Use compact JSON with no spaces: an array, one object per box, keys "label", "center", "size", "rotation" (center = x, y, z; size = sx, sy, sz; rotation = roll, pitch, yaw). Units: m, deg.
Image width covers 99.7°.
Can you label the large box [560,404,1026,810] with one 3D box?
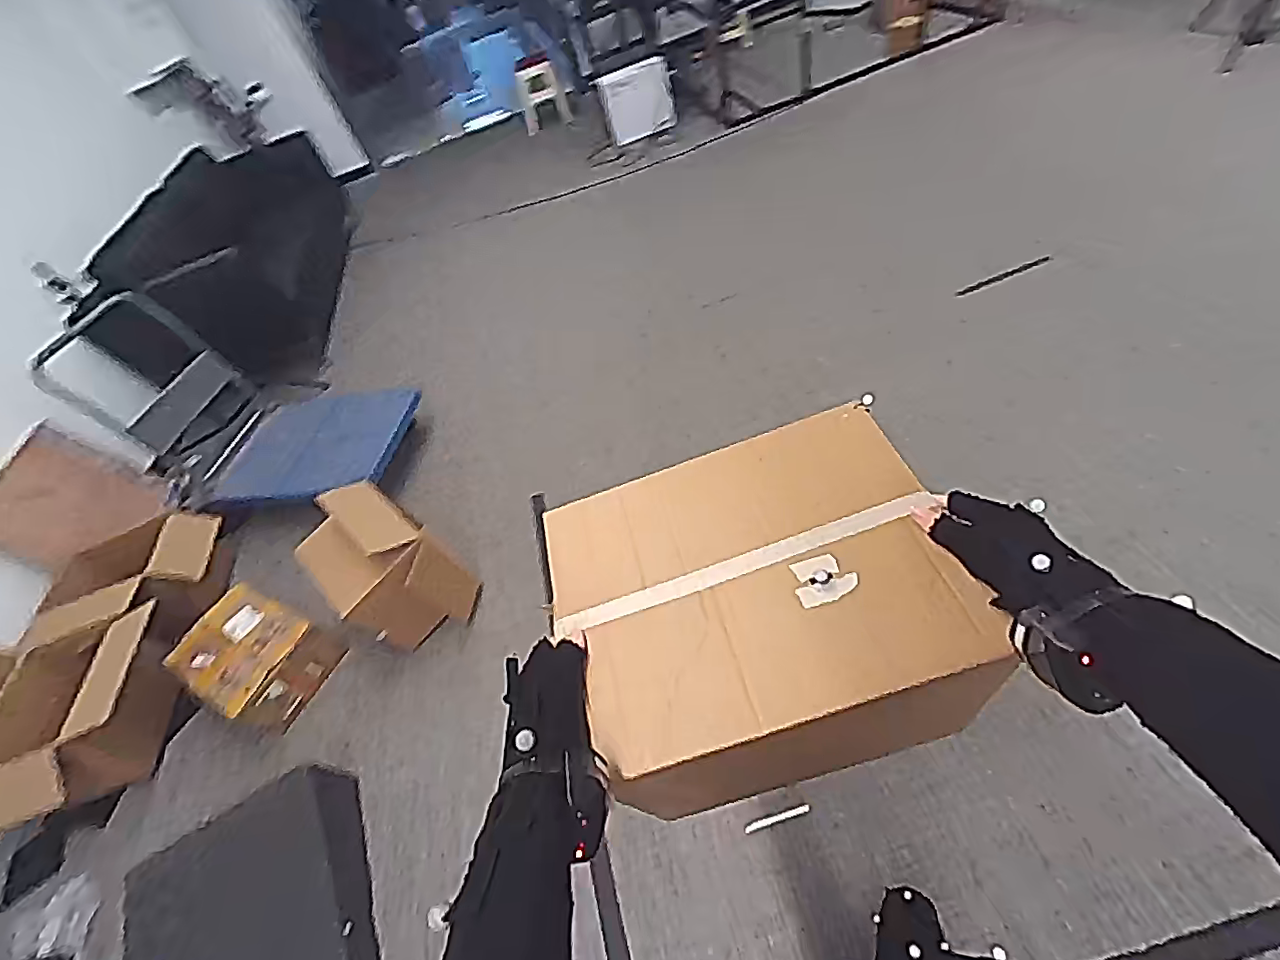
[{"label":"large box","center":[0.155,0.173,0.685],"size":[0.408,0.320,0.320],"rotation":[-19,51,4]}]
